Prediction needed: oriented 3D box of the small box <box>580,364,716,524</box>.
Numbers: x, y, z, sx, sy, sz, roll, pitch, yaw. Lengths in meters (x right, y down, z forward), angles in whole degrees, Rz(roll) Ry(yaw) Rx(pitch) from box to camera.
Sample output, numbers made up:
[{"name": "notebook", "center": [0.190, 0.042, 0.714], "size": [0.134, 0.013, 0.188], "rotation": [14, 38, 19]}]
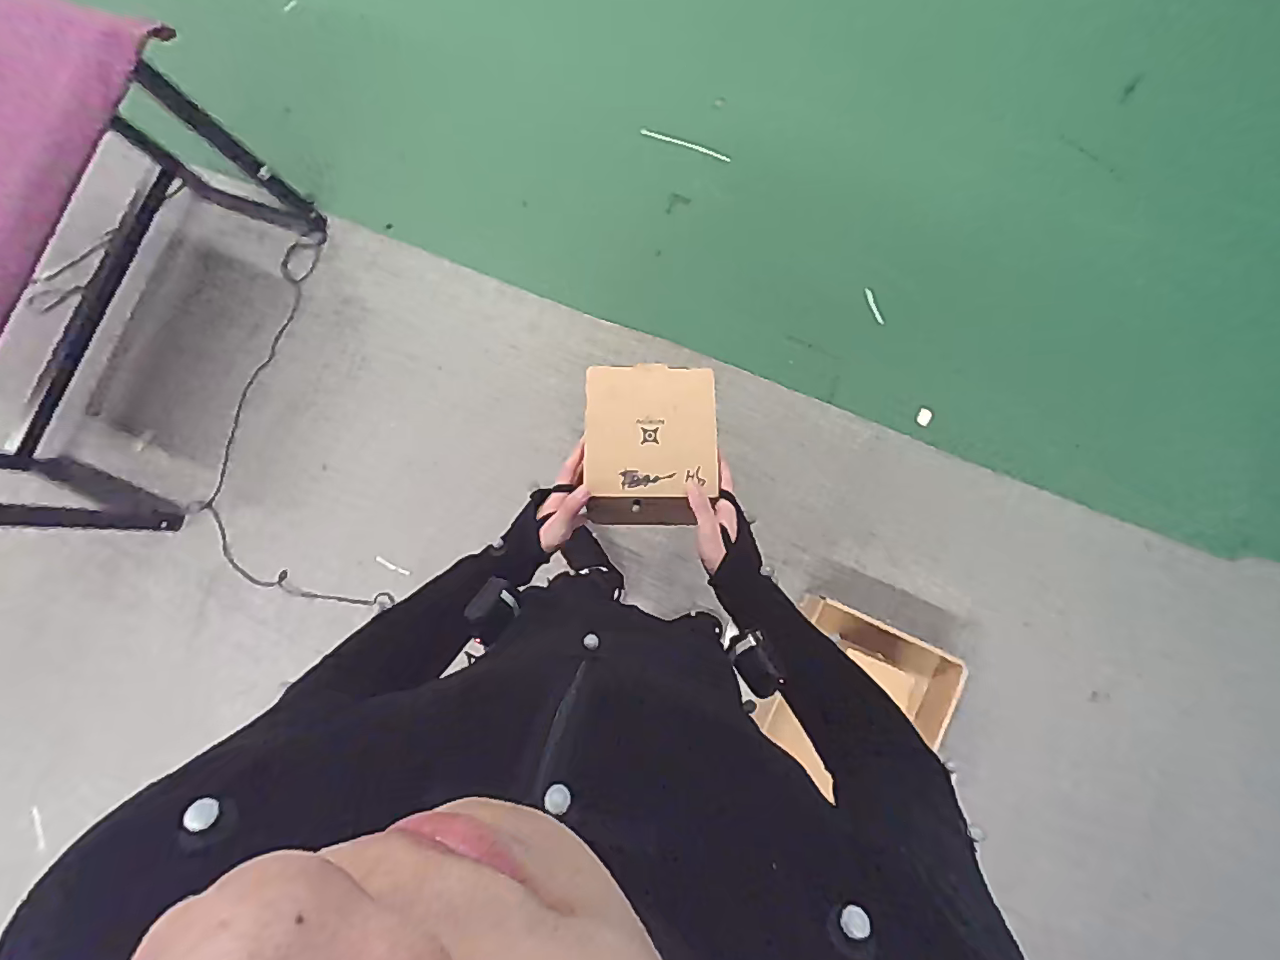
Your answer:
[{"name": "small box", "center": [0.006, -0.042, 0.744], "size": [0.168, 0.176, 0.179], "rotation": [0, 75, -2]}]
